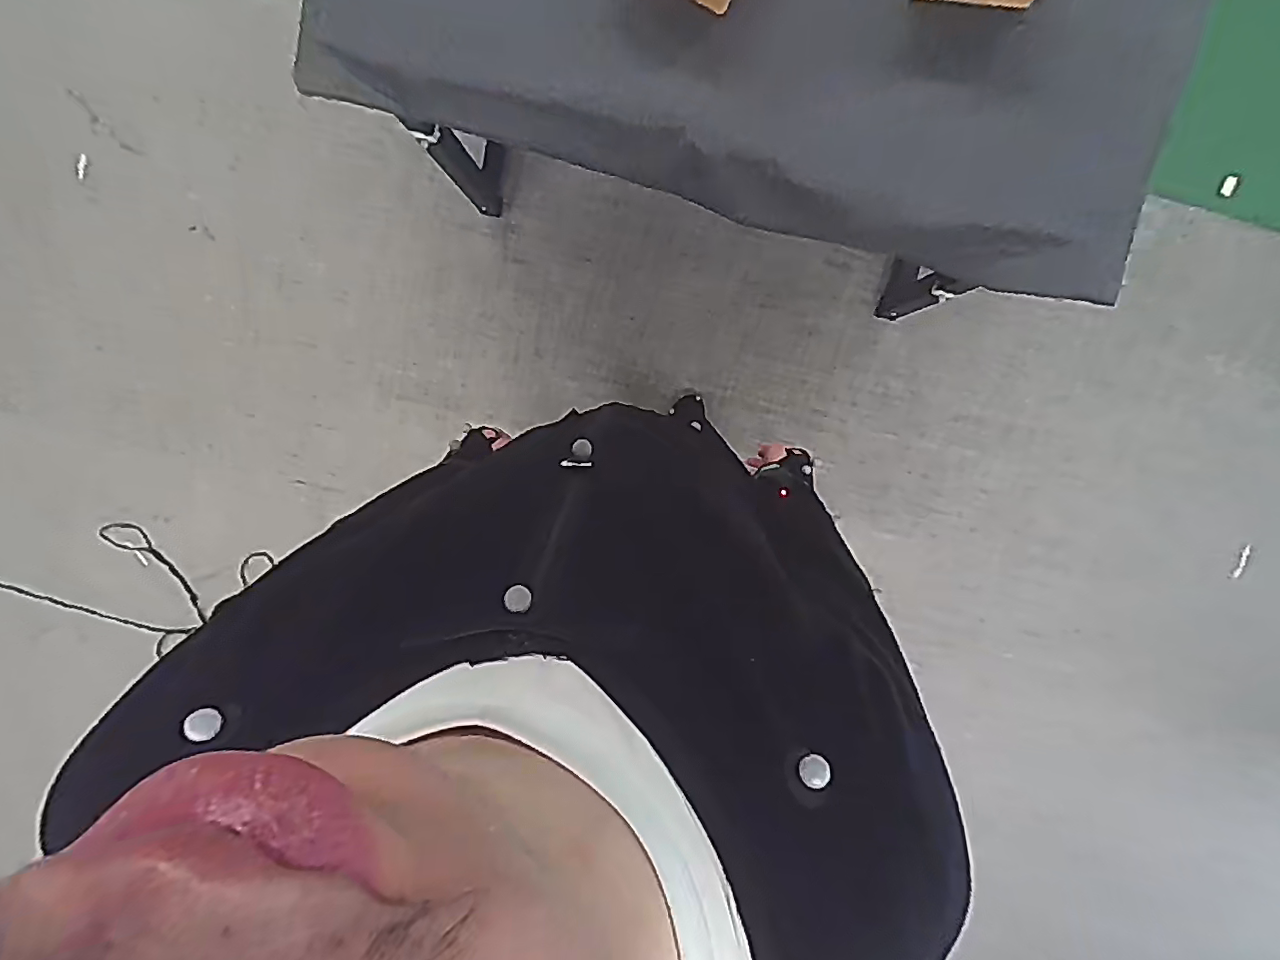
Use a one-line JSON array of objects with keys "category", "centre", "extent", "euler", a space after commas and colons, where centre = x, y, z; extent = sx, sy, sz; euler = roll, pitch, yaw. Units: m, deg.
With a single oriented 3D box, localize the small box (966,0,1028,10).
[{"category": "small box", "centre": [0.455, -0.726, 0.655], "extent": [0.168, 0.176, 0.179], "euler": [6, 96, -1]}]
